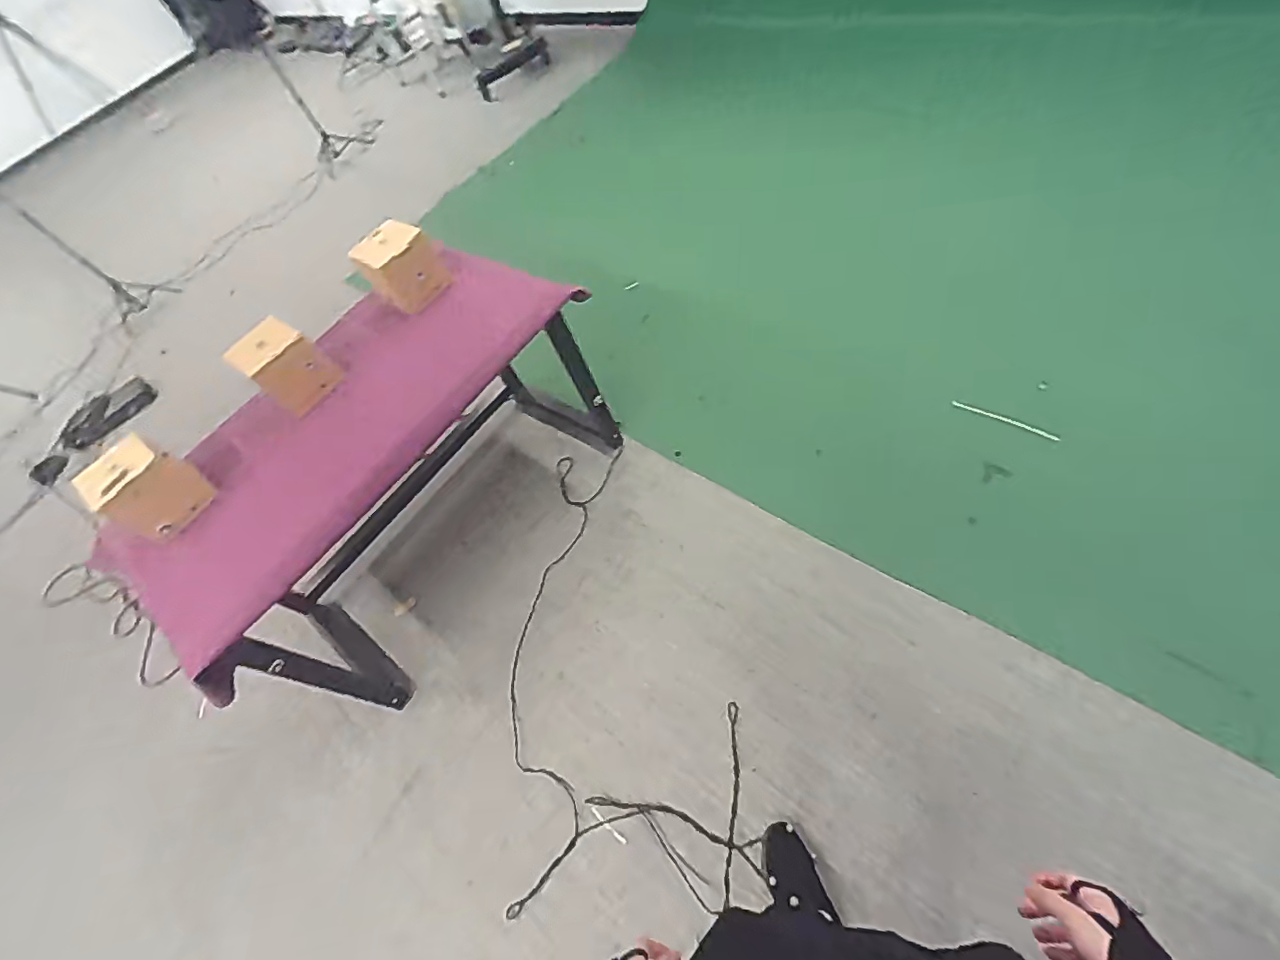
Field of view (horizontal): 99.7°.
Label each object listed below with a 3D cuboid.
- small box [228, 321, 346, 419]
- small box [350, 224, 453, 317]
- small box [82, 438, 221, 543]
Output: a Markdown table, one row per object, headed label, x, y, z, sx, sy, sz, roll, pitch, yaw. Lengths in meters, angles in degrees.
| label | x | y | z | sx | sy | sz | roll | pitch | yaw |
| --- | --- | --- | --- | --- | --- | --- | --- | --- | --- |
| small box | -0.936 | -0.289 | 1.447 | 0.179 | 0.176 | 0.168 | 28 | 70 | 30 |
| small box | -0.679 | -0.597 | 1.557 | 0.179 | 0.176 | 0.168 | 30 | 72 | 30 |
| small box | -1.182 | 0.032 | 1.320 | 0.179 | 0.176 | 0.168 | 26 | 69 | 30 |
